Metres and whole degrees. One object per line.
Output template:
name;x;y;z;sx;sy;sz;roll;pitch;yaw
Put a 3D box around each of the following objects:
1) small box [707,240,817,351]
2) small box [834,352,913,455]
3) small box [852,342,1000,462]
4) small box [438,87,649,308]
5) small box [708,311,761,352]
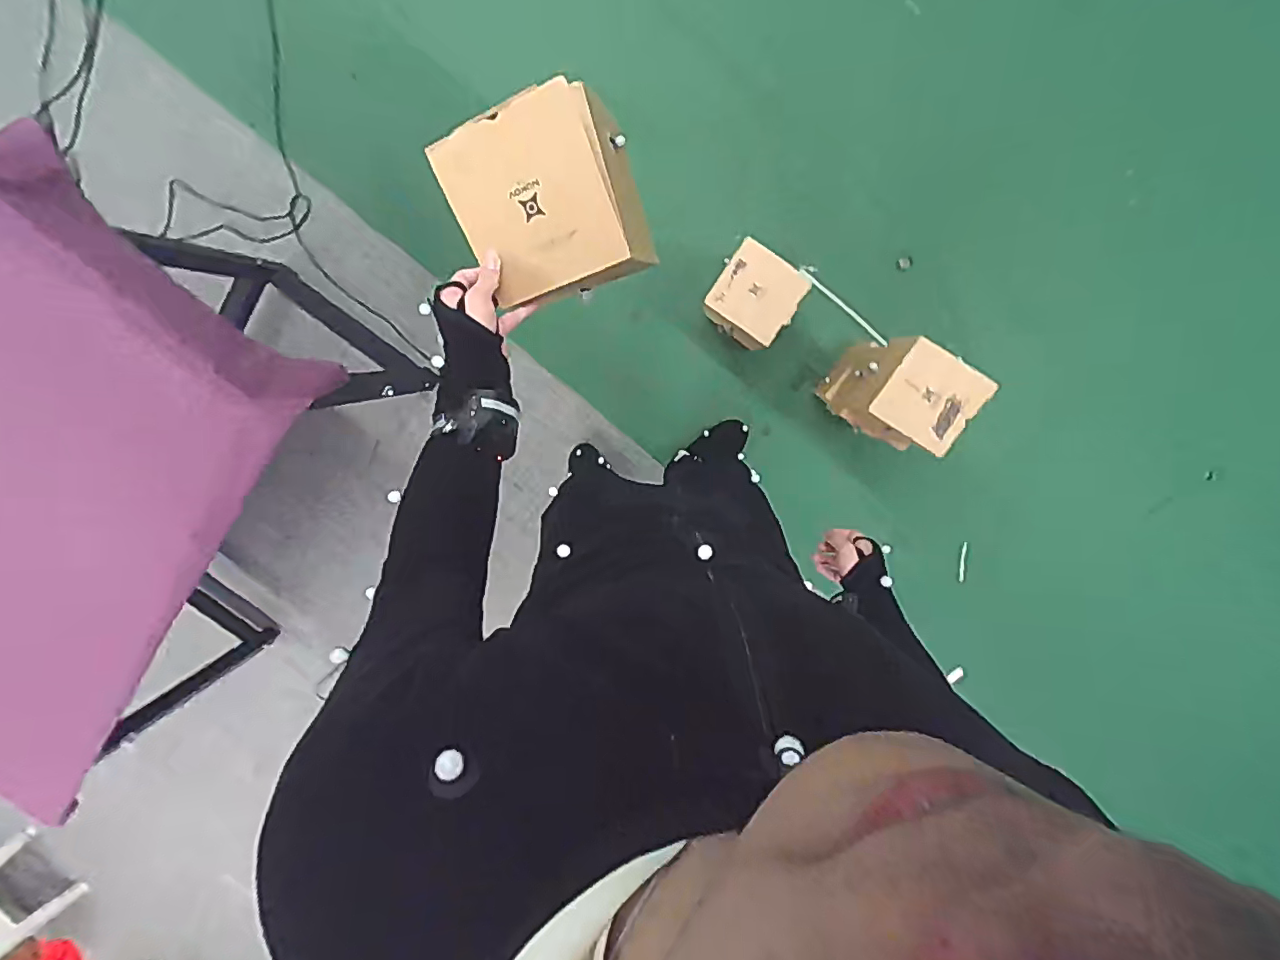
small box;0.272;-0.416;1.244;0.179;0.176;0.168;36;104;-2
small box;0.576;-0.186;1.255;0.168;0.176;0.179;31;106;0
small box;0.563;-0.163;1.091;0.179;0.176;0.168;33;105;0
small box;-0.101;-0.319;0.650;0.168;0.176;0.179;-13;106;18
small box;0.297;-0.450;1.403;0.168;0.176;0.179;39;105;-2
